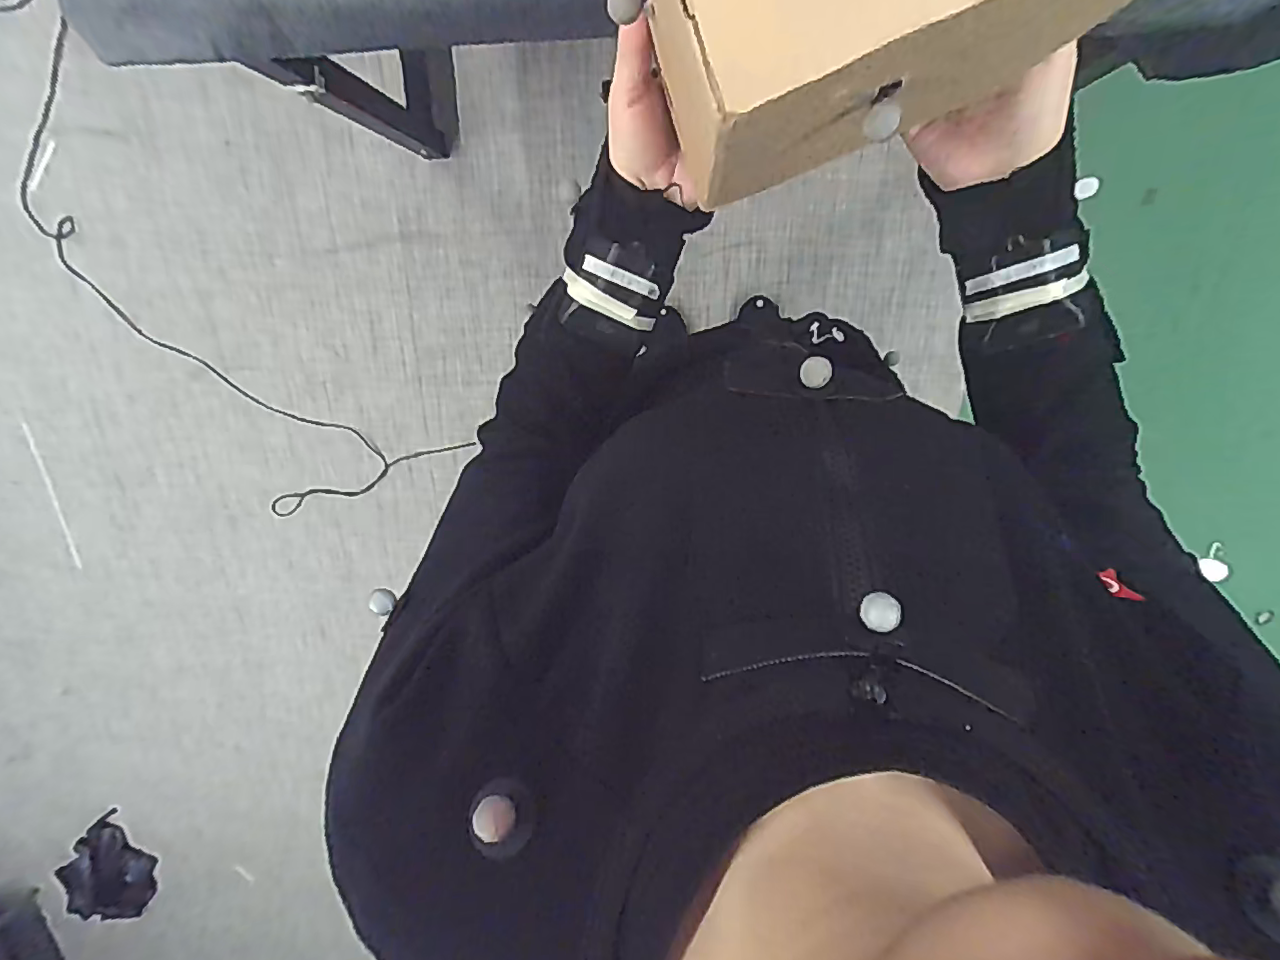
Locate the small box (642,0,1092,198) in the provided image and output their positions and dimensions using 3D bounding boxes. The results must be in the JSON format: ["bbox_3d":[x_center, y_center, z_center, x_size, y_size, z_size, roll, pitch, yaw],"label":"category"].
[{"bbox_3d":[0.081,-0.236,0.208,0.179,0.176,0.168,-20,105,12],"label":"small box"}]
